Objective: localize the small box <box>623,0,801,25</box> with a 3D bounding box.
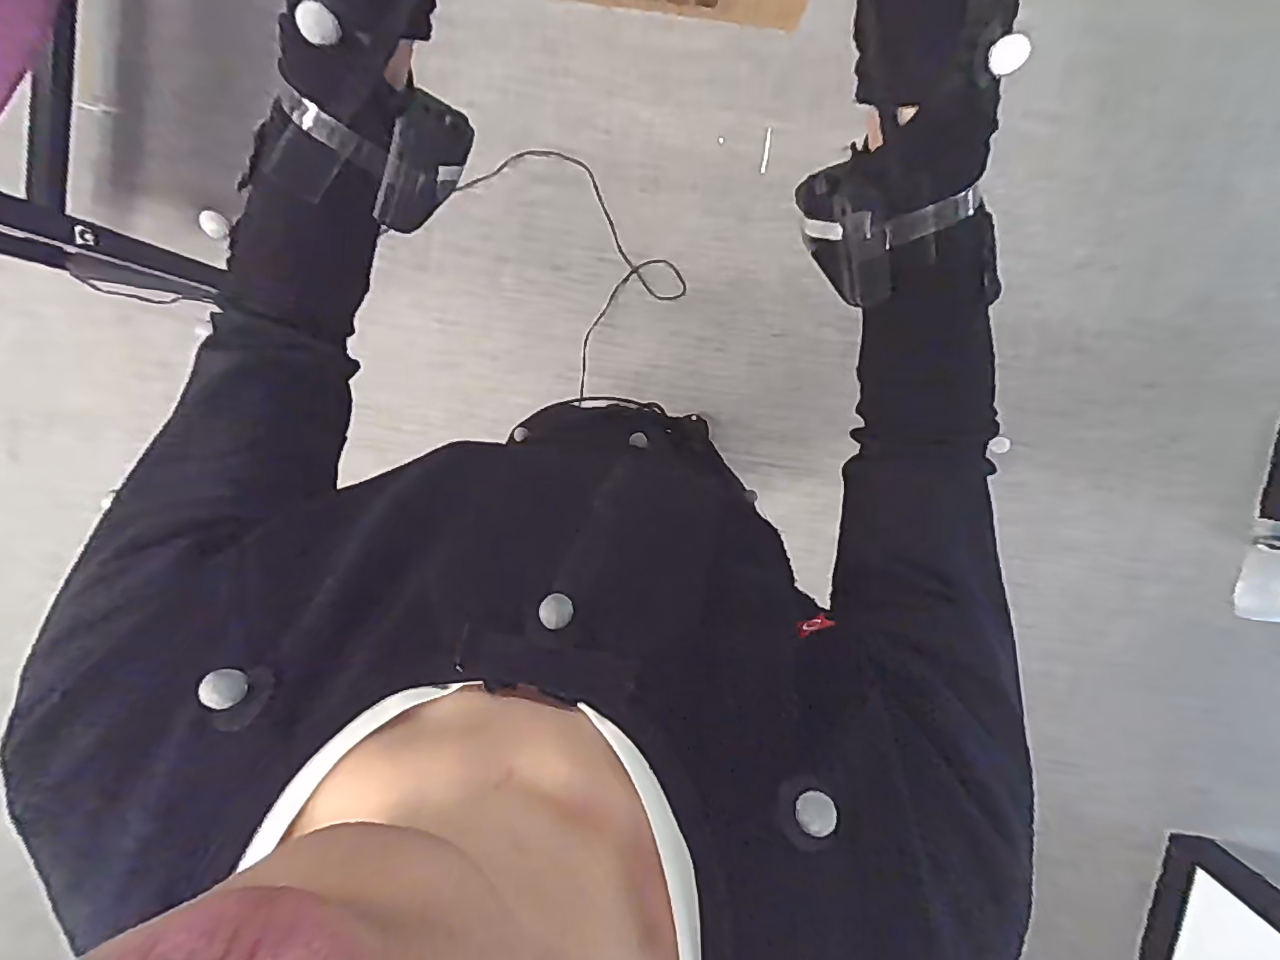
[{"bbox_3d":[0.031,-0.373,0.254,0.168,0.176,0.179,8,102,1],"label":"small box"}]
